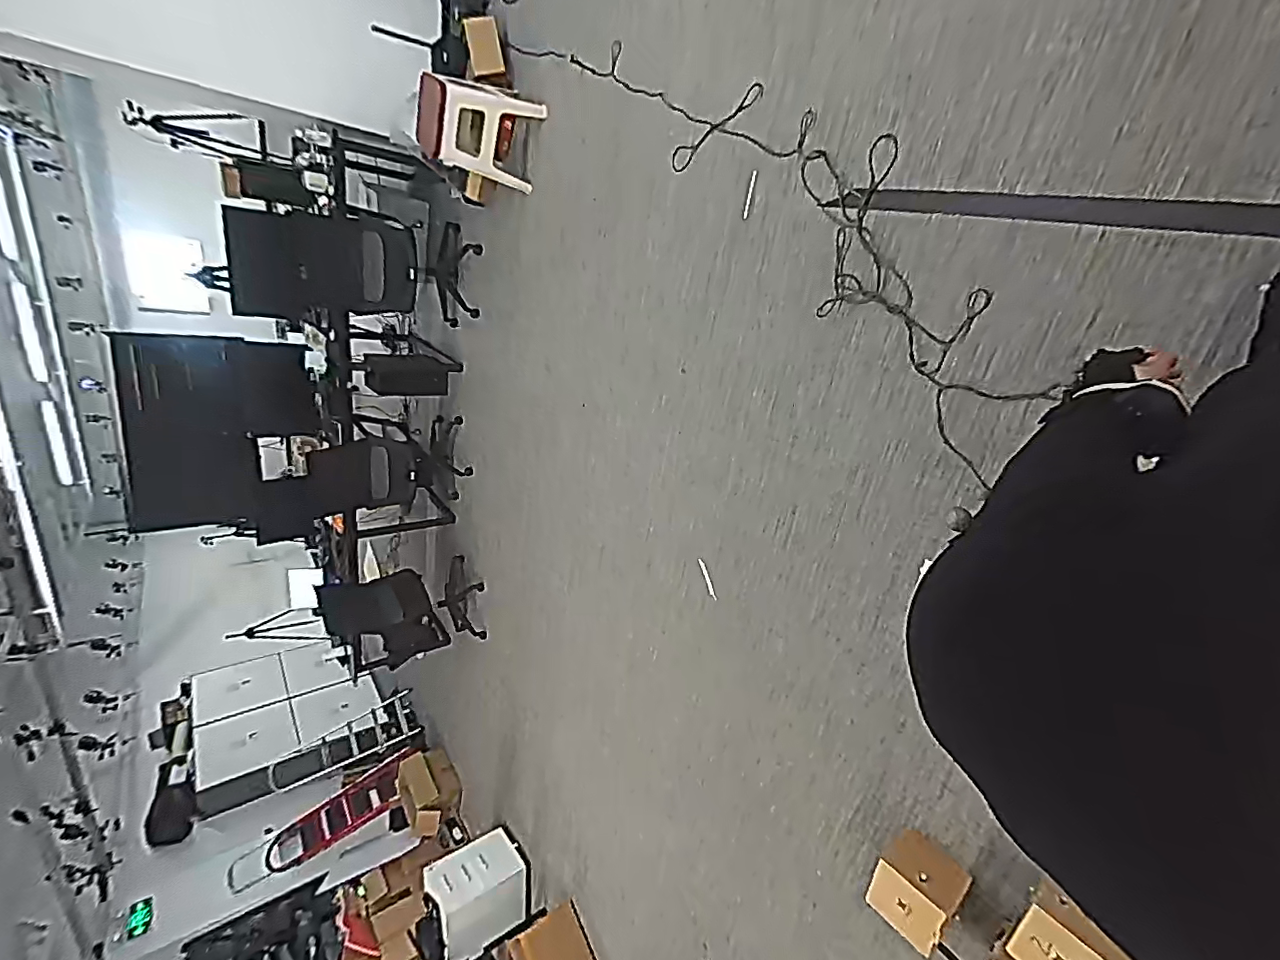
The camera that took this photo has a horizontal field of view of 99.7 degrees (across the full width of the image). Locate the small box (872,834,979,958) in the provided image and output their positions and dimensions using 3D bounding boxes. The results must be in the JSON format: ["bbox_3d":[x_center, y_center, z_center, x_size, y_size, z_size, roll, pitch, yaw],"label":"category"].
[{"bbox_3d":[0.755,1.084,1.434,0.179,0.176,0.168,27,117,46],"label":"small box"}]

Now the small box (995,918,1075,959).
[{"bbox_3d":[0.916,1.185,1.241,0.179,0.176,0.168,33,122,44],"label":"small box"}]
